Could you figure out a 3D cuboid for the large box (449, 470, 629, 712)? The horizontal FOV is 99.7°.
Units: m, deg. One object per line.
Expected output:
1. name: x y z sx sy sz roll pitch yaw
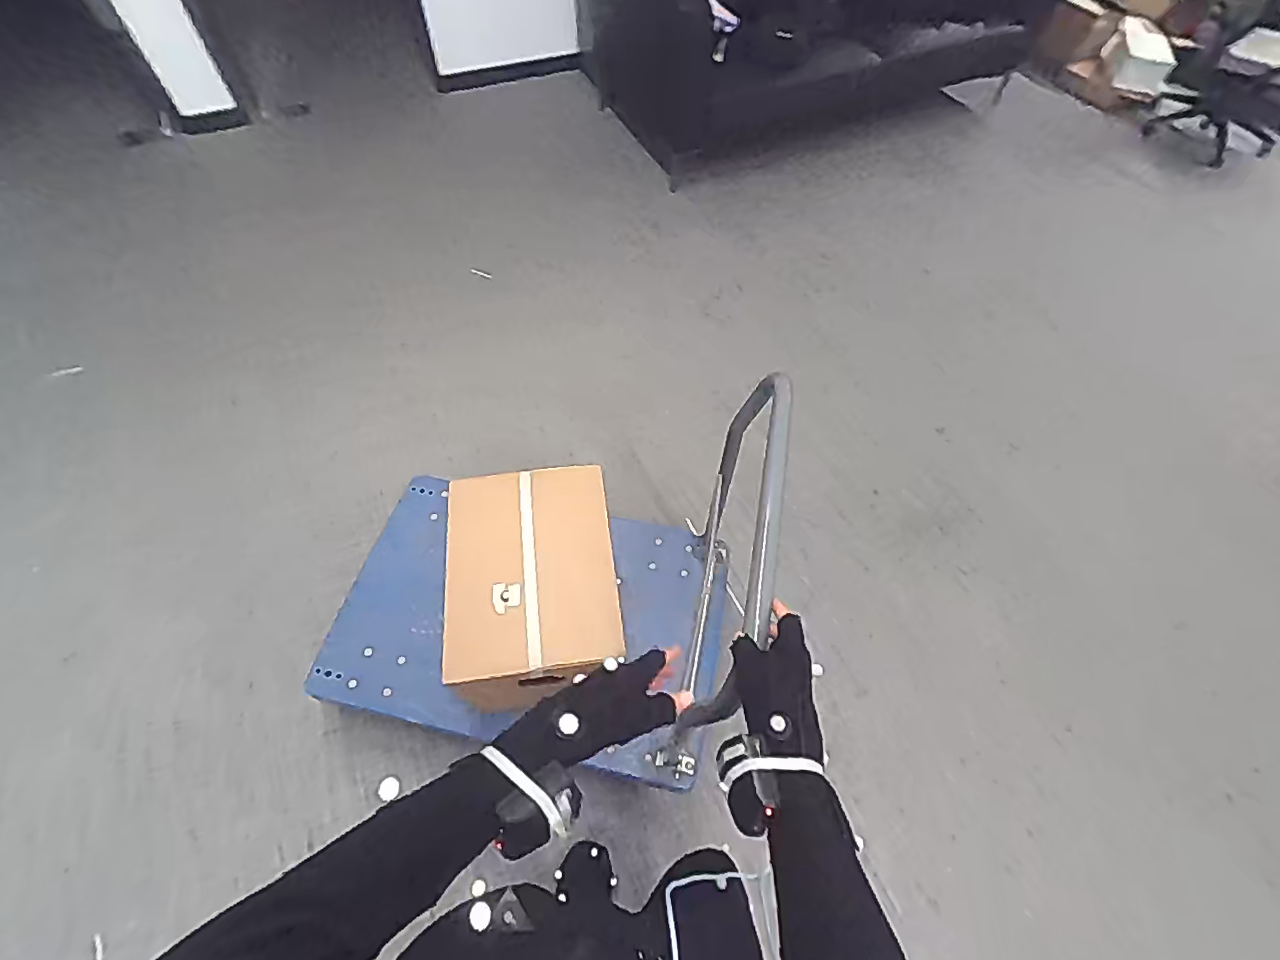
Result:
1. large box: -0.211 0.241 1.158 0.320 0.320 0.408 -8 59 -6
